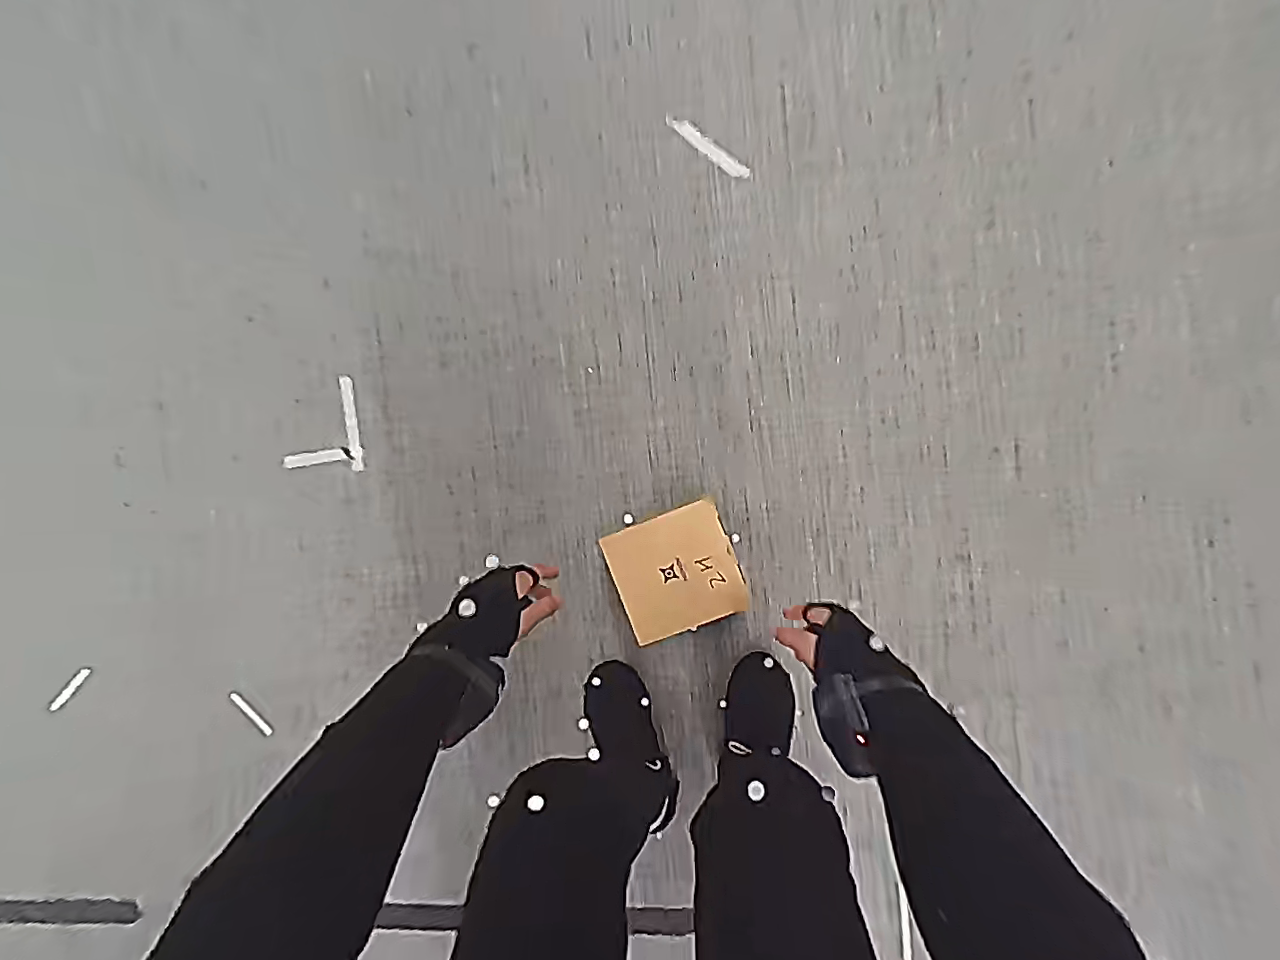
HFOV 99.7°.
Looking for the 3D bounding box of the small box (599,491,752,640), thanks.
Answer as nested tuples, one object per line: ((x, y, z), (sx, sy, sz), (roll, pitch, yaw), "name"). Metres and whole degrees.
((0.059, 0.124, 0.839), (0.179, 0.176, 0.168), (-22, 88, 6), "small box")
